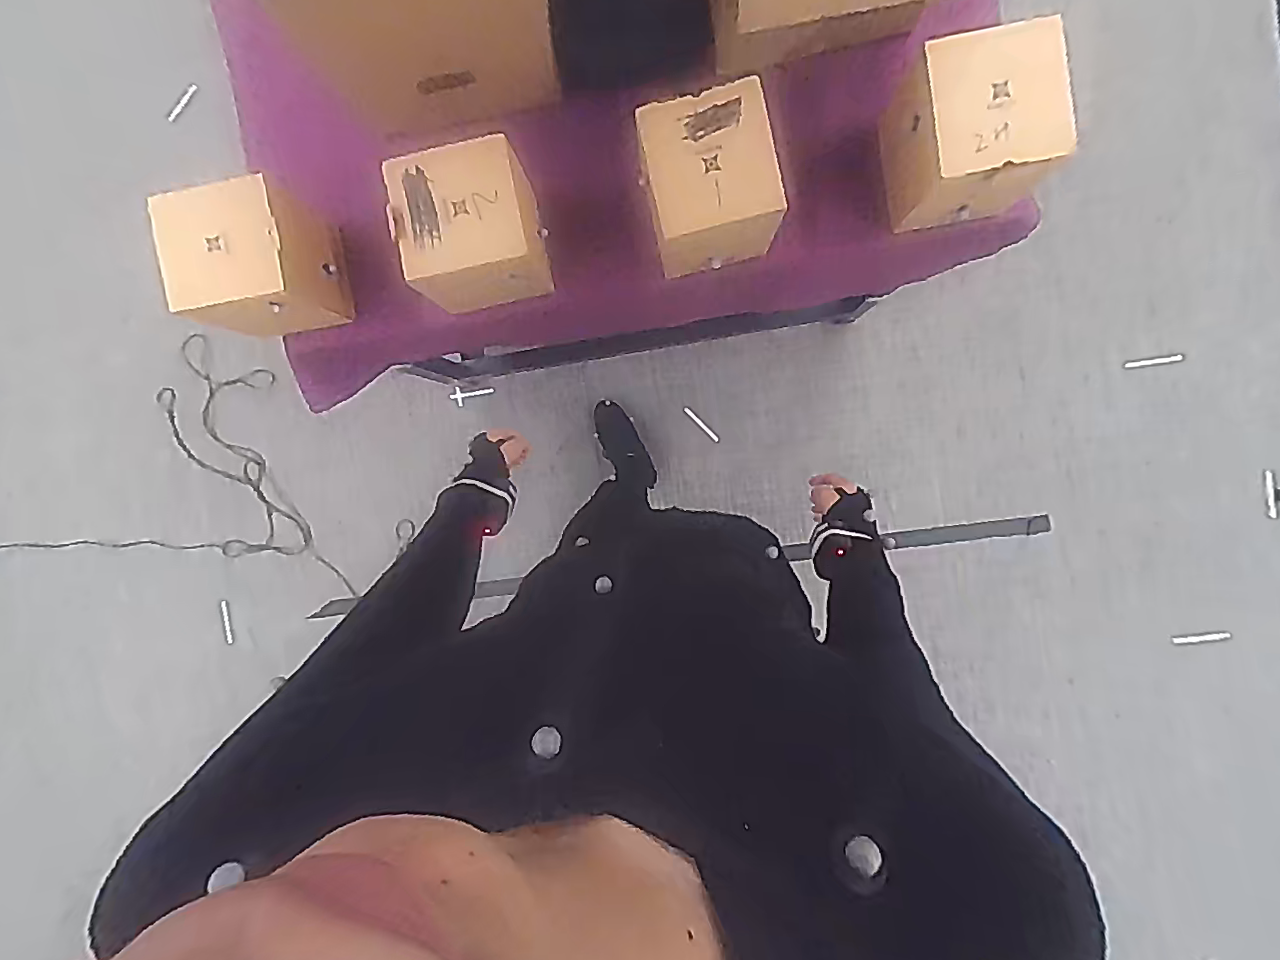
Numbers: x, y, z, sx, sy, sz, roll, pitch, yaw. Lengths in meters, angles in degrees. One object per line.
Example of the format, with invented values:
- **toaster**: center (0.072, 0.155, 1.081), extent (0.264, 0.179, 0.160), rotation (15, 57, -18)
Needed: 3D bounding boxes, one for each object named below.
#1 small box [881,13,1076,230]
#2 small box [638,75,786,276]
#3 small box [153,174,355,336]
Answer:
- **small box**: center (0.452, -0.479, 0.749), extent (0.168, 0.176, 0.179), rotation (-8, 92, 6)
- **small box**: center (0.097, -0.422, 0.779), extent (0.168, 0.176, 0.179), rotation (-13, 92, 5)
- **small box**: center (-0.578, -0.331, 0.831), extent (0.179, 0.176, 0.168), rotation (-10, 92, 3)
